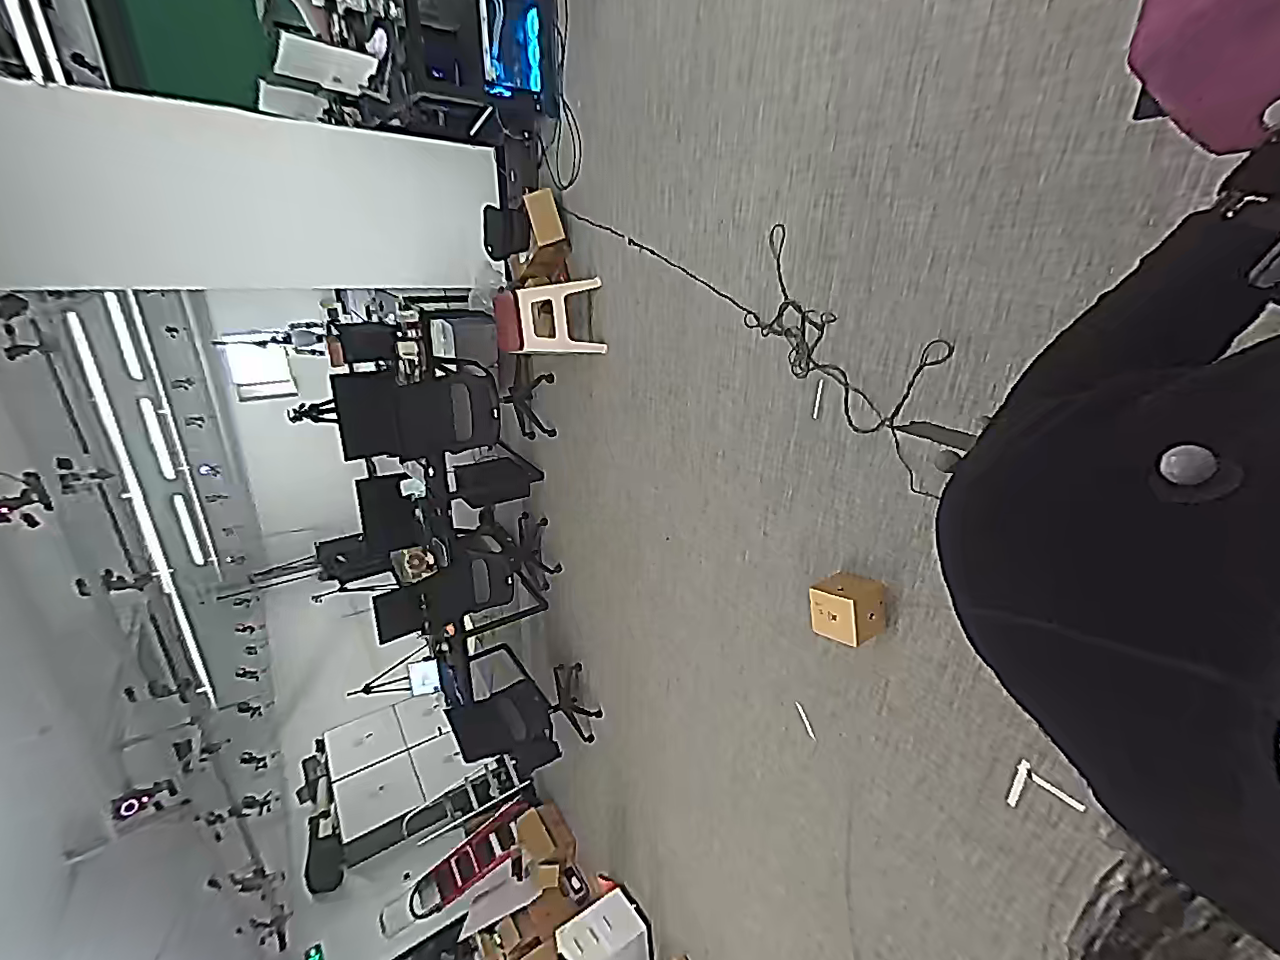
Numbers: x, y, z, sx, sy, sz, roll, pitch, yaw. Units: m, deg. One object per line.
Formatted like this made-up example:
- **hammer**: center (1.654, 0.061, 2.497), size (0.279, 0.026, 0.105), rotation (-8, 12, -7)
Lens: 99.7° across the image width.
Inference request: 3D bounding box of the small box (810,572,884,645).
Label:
- **small box**: center (0.700, 0.422, 1.812), size (0.179, 0.176, 0.168), rotation (8, 109, 56)
